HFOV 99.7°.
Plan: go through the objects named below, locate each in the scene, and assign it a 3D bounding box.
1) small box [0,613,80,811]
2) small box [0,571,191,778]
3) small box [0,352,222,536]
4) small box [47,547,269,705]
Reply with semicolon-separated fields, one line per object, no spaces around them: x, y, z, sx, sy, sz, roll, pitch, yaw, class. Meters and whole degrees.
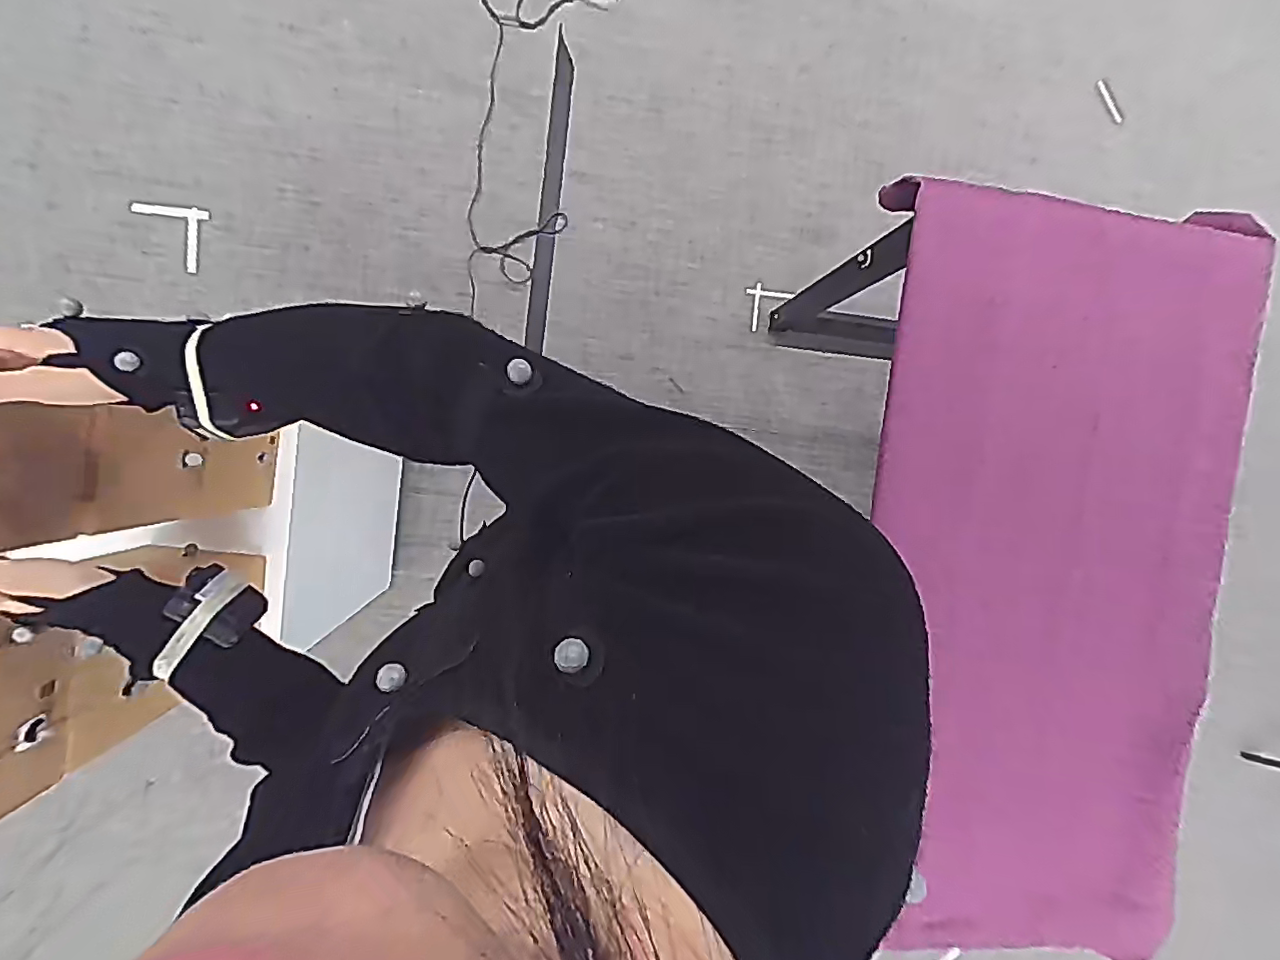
-0.635;0.211;0.443;0.179;0.176;0.168;5;94;-7;small box
-0.652;0.203;0.605;0.179;0.176;0.168;6;93;-7;small box
-0.613;-0.042;0.593;0.179;0.176;0.168;8;93;-8;small box
-0.672;0.194;0.765;0.179;0.176;0.168;7;93;-6;small box
